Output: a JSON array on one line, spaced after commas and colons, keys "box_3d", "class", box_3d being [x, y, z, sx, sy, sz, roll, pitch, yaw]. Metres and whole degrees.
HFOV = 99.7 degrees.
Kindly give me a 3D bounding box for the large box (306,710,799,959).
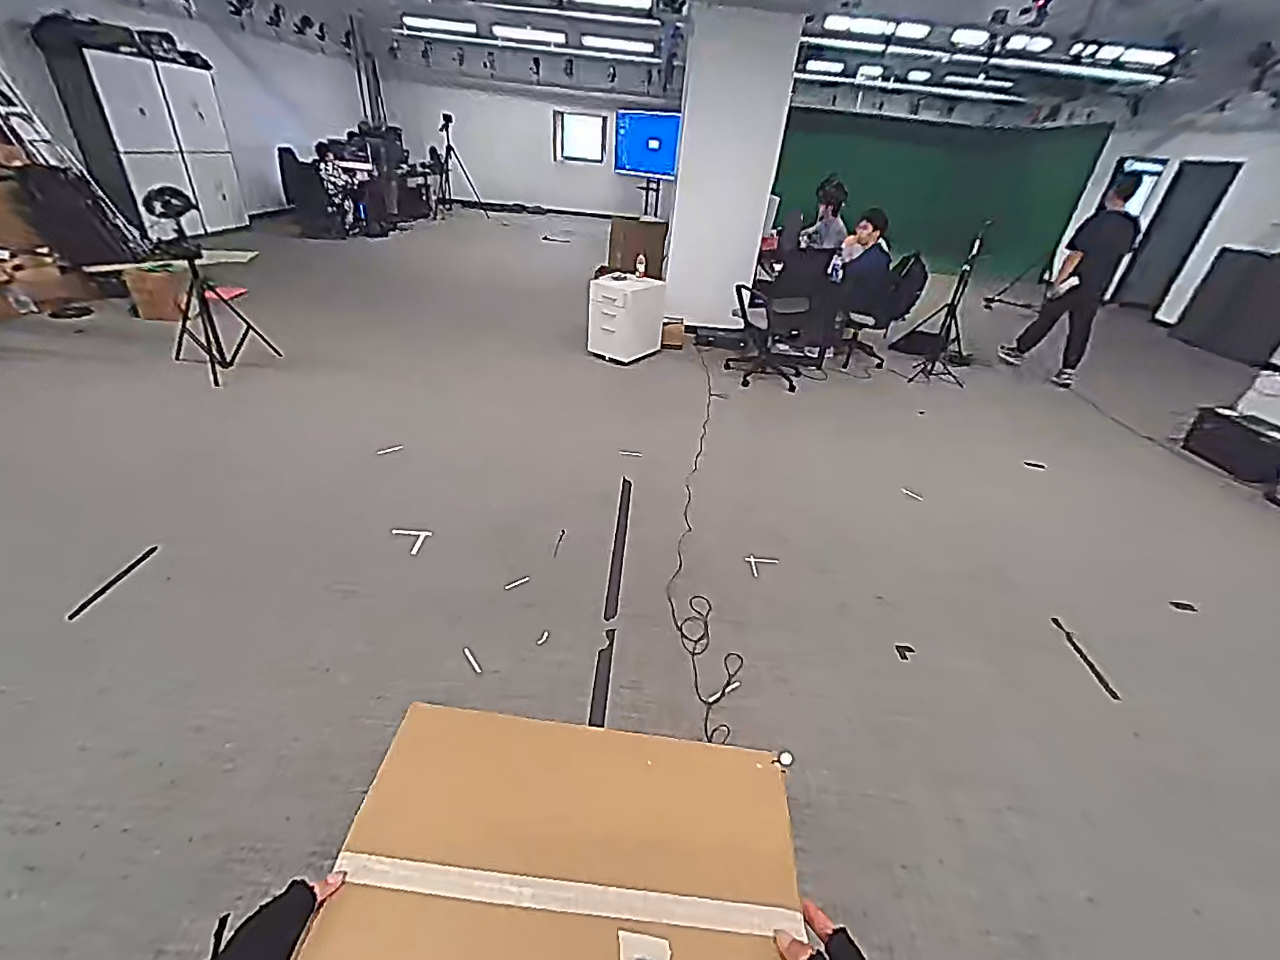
[{"box_3d": [-0.080, 0.486, 0.557, 0.408, 0.320, 0.320, 9, 35, 0], "class": "large box"}]
